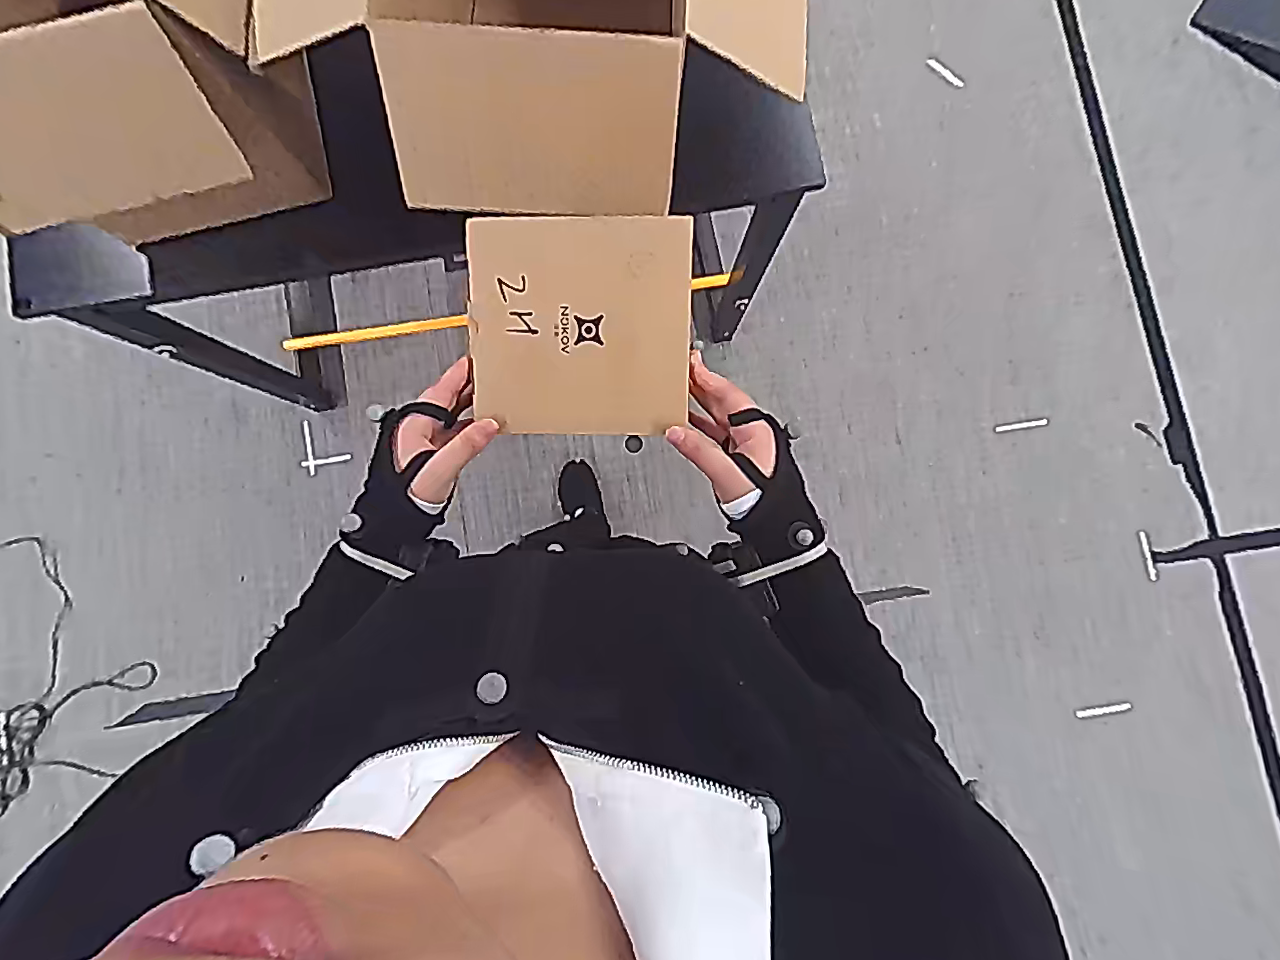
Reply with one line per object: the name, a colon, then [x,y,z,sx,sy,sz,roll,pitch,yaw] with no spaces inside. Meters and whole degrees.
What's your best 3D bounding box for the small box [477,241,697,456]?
small box: [-0.041,-0.117,0.513,0.179,0.176,0.168,2,99,3]
